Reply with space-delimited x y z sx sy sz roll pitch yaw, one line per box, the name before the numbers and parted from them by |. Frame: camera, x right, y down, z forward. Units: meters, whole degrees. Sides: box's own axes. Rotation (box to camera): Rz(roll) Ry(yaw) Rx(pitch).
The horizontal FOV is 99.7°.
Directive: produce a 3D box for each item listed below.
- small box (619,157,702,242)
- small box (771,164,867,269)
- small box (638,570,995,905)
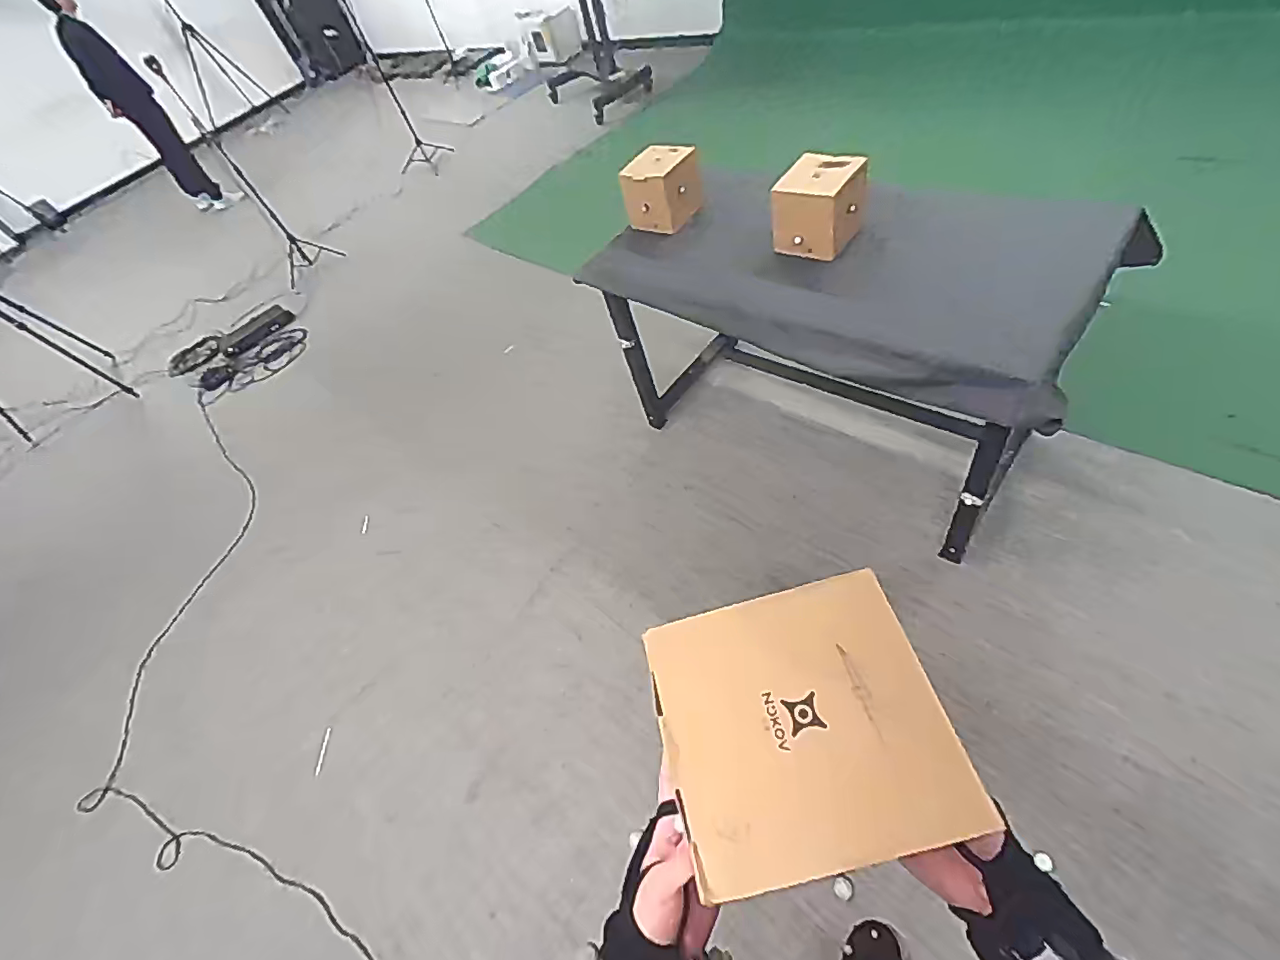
small box | 0.070 -0.846 1.634 0.168 0.176 0.179 24 64 32
small box | 0.448 -0.664 1.362 0.168 0.176 0.179 26 66 33
small box | 0.112 0.196 0.408 0.179 0.176 0.168 -16 55 1
